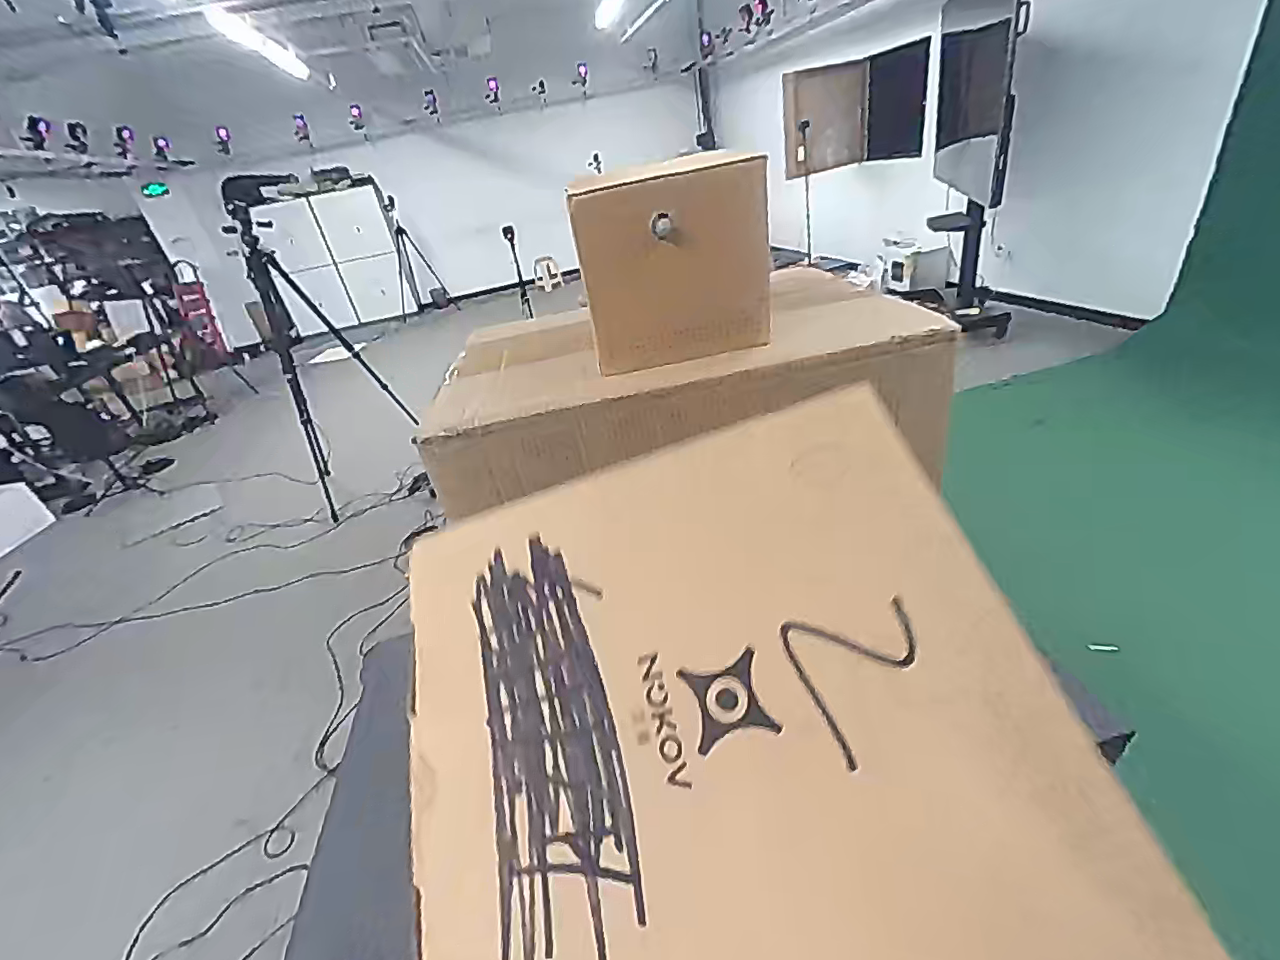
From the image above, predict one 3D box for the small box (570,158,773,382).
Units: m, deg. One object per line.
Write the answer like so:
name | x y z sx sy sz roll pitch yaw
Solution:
small box | 0.031 -0.220 0.563 0.179 0.176 0.168 -11 33 0
